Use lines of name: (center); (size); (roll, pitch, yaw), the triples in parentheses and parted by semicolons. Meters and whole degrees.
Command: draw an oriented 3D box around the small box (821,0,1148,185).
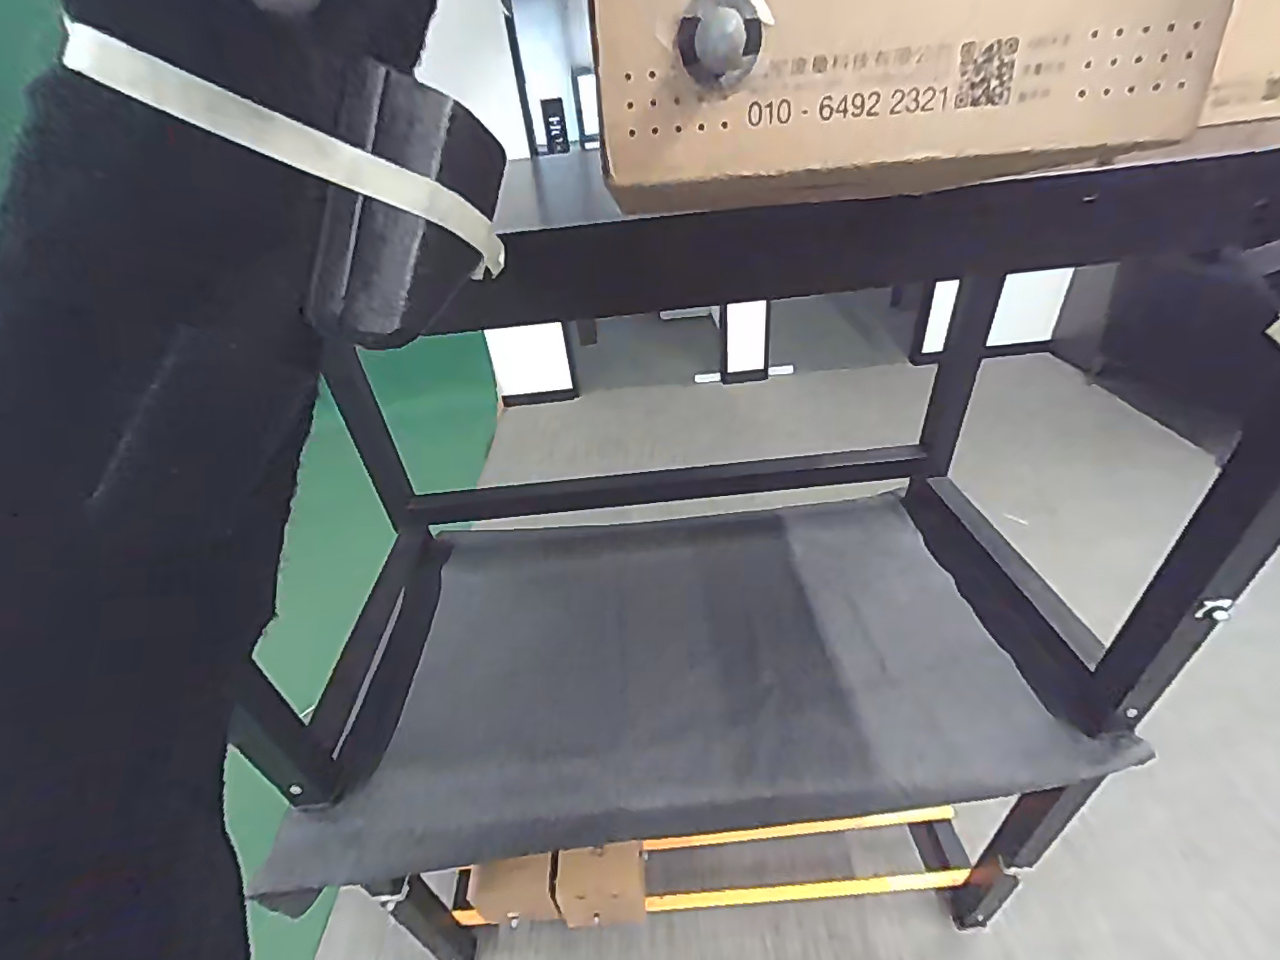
small box: (0.260, -0.349, 0.443); (0.168, 0.176, 0.179); (-7, 35, 0)
